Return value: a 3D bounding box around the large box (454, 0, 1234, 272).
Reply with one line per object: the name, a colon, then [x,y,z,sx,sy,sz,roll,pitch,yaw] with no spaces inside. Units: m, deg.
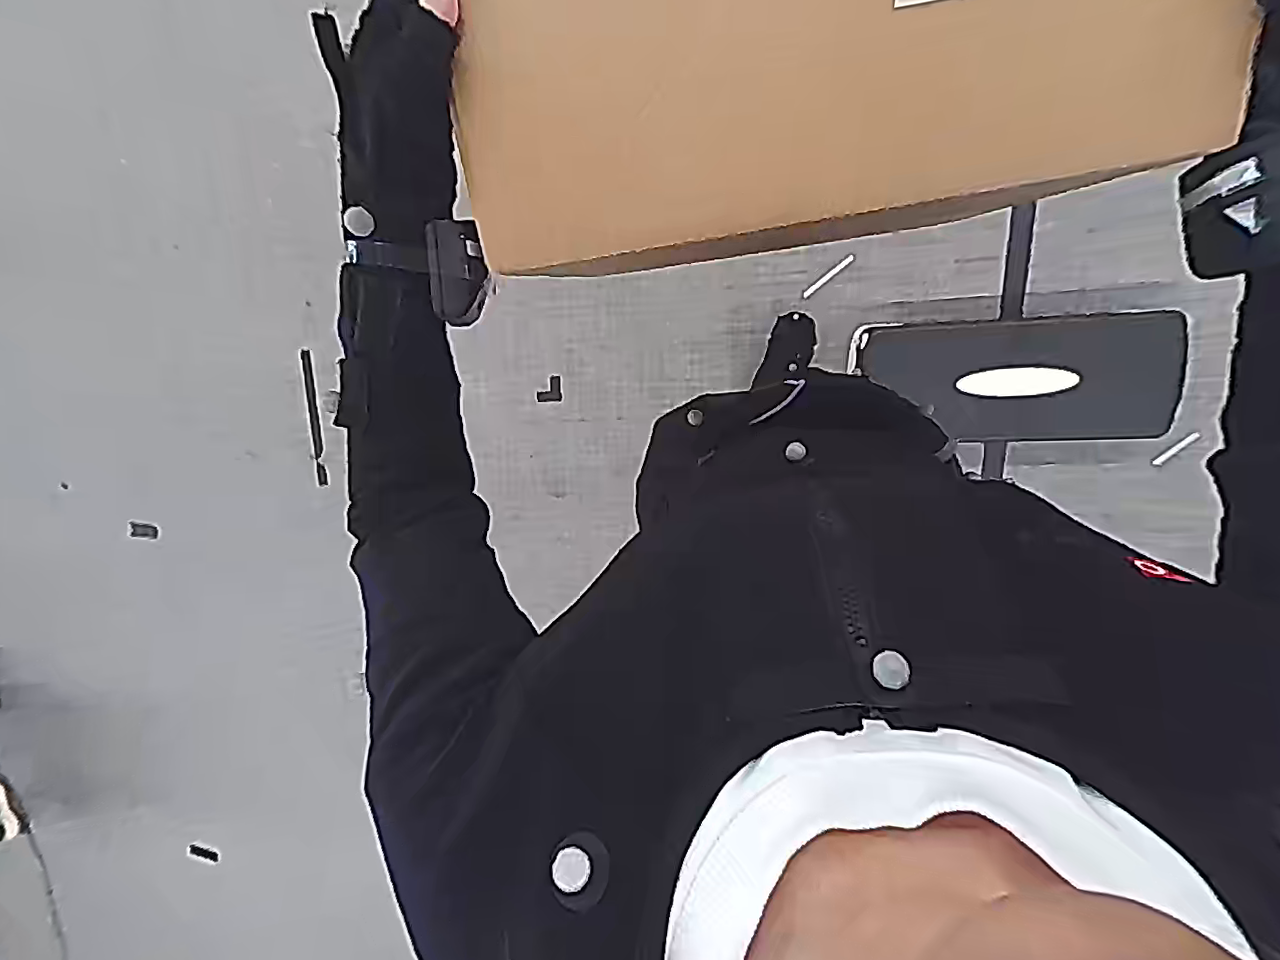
large box: [0.102,-0.357,0.410,0.408,0.320,0.320,-6,110,9]
